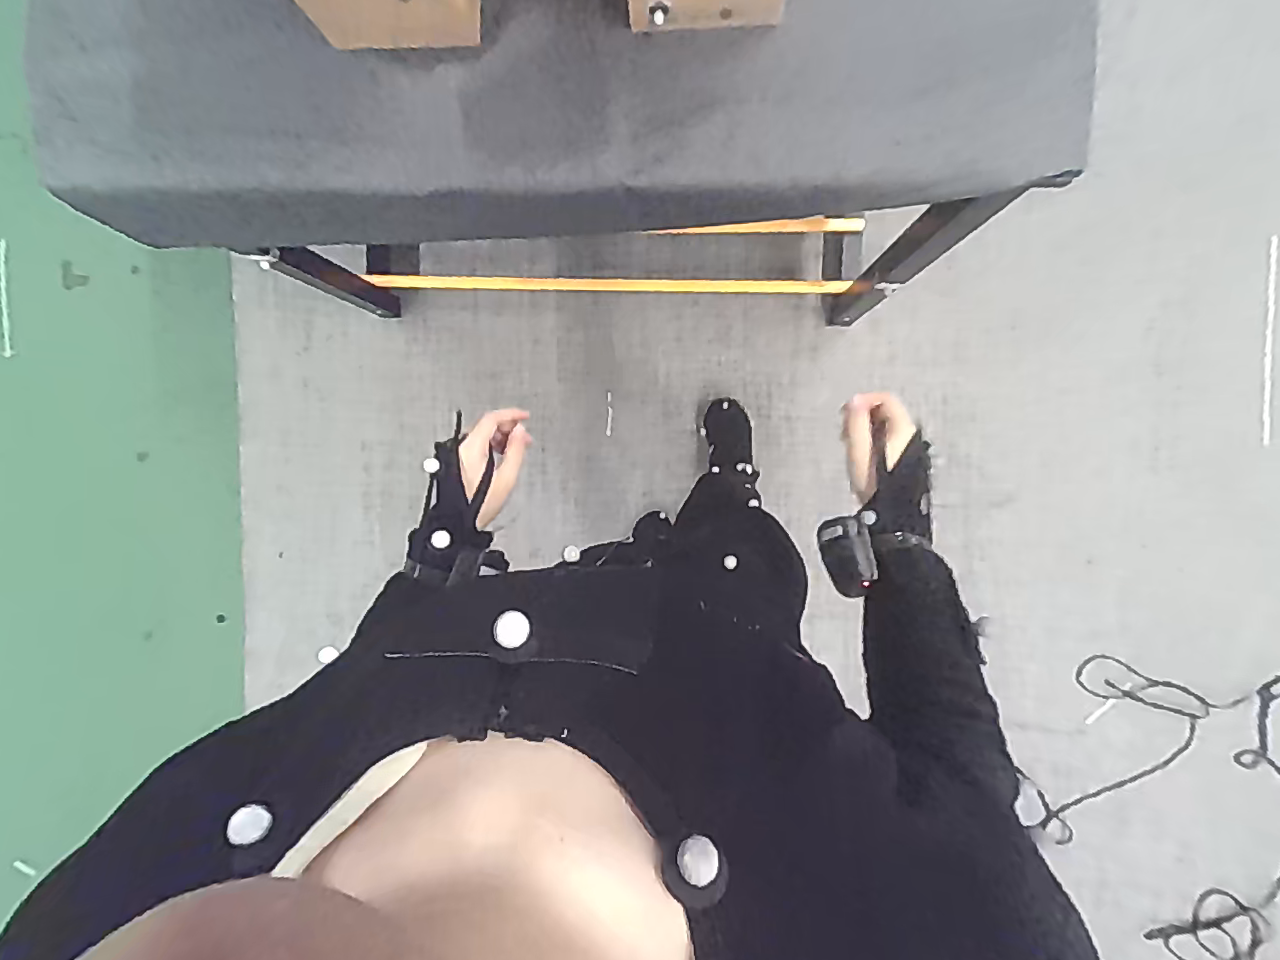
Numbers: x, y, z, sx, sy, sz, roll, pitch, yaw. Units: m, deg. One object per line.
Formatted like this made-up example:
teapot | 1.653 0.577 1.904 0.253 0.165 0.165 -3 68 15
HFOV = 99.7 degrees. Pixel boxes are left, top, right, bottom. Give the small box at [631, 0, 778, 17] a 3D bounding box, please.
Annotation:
small box | 0.064 -0.586 0.513 0.168 0.176 0.179 0 92 4

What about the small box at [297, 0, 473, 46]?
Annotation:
small box | -0.273 -0.576 0.537 0.179 0.176 0.168 1 91 4
